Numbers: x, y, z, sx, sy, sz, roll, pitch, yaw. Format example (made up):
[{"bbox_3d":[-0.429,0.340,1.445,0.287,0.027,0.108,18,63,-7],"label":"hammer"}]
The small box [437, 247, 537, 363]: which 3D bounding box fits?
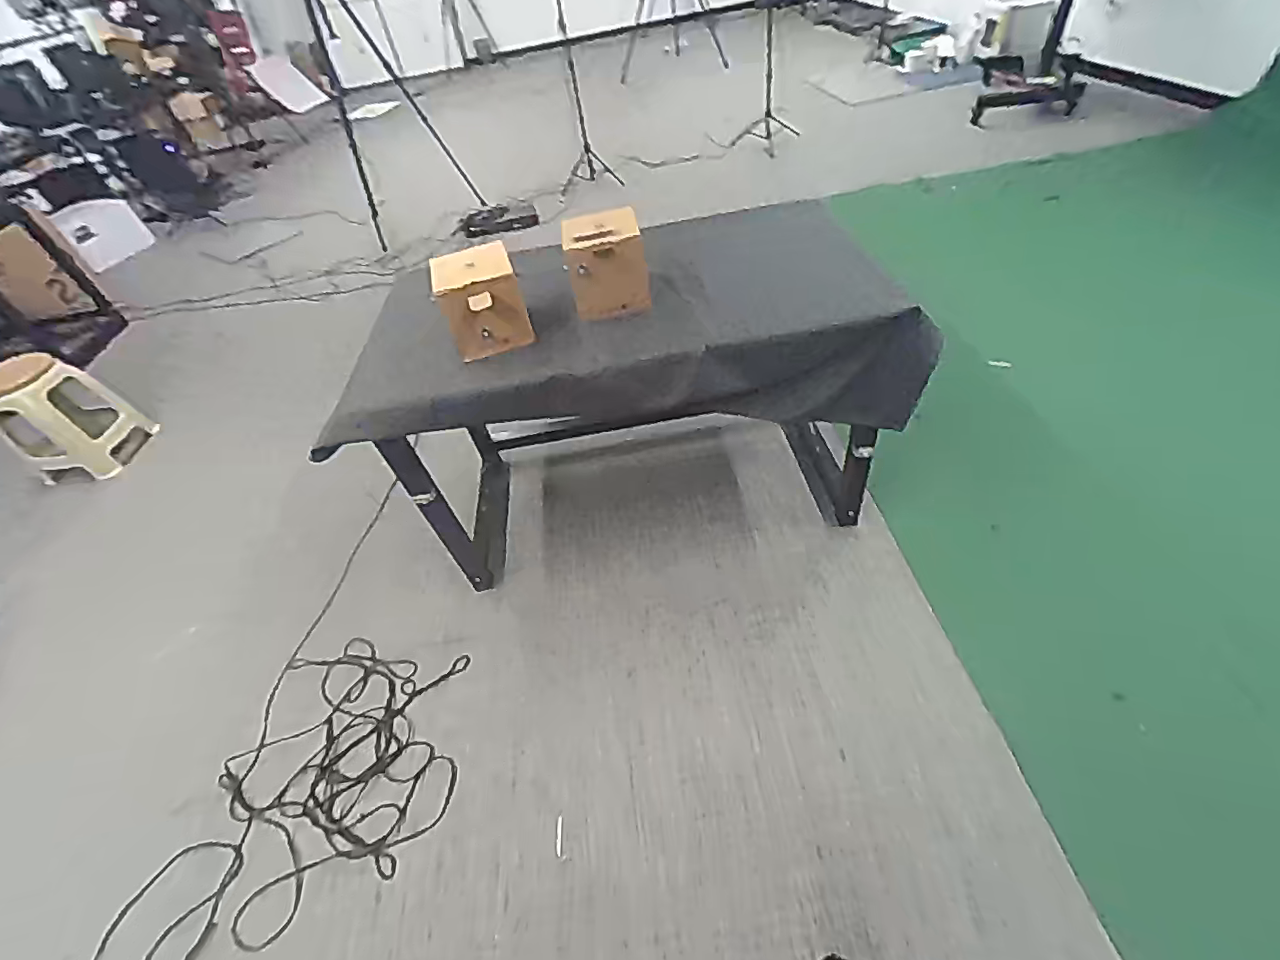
[{"bbox_3d":[-0.337,-0.386,1.198,0.168,0.176,0.179,-18,46,-7],"label":"small box"}]
